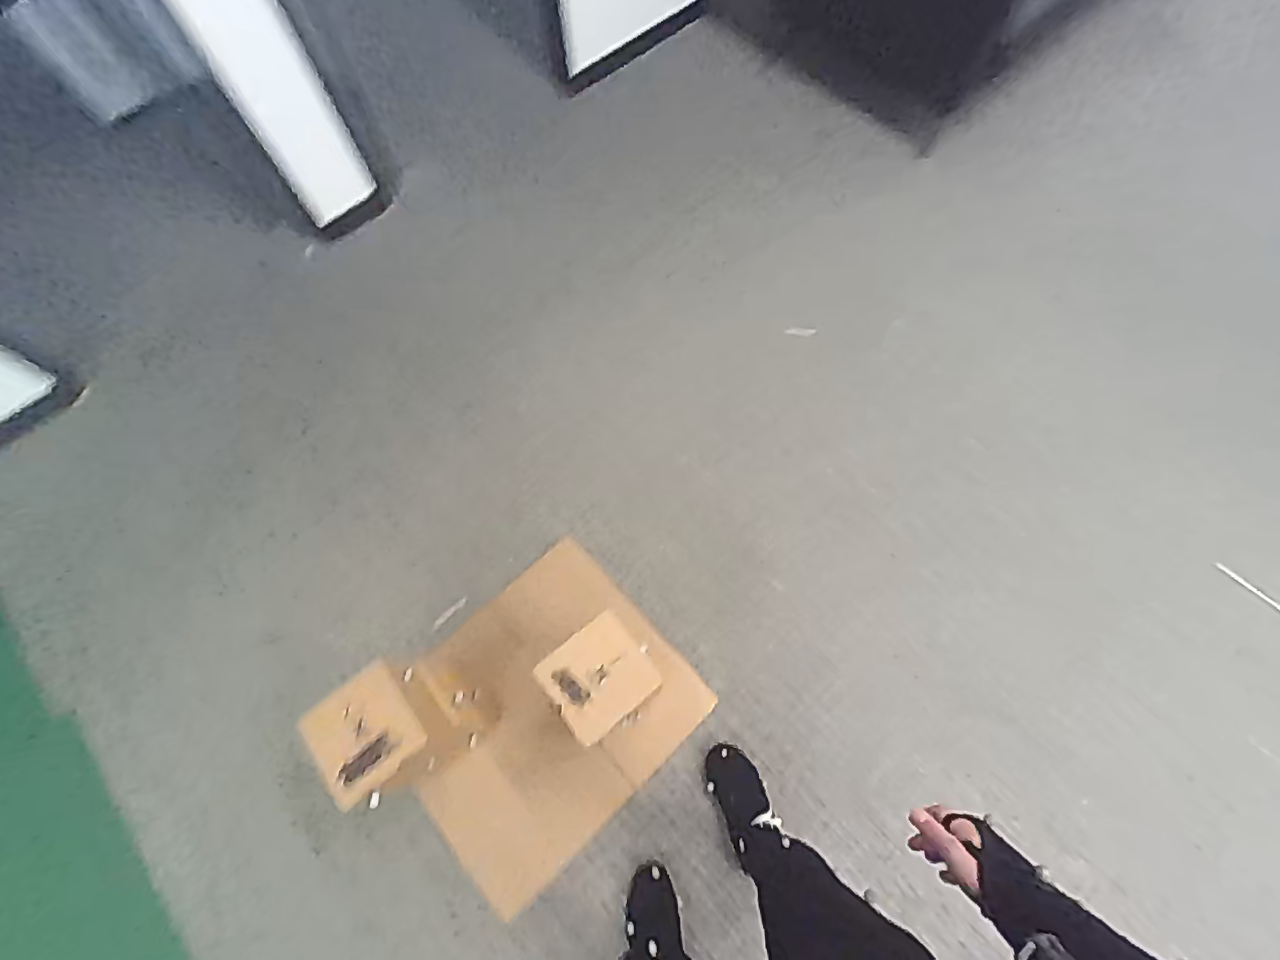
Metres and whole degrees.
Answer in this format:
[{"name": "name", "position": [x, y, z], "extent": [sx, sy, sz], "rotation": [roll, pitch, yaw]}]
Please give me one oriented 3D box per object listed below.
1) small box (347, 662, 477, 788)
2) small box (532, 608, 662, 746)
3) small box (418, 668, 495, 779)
[{"name": "small box", "position": [-0.469, 0.511, 1.150], "extent": [0.179, 0.176, 0.168], "rotation": [-40, 72, -13]}, {"name": "small box", "position": [-0.073, 0.371, 1.022], "extent": [0.179, 0.176, 0.168], "rotation": [-37, 72, -13]}, {"name": "small box", "position": [-0.470, 0.576, 1.298], "extent": [0.179, 0.176, 0.168], "rotation": [-40, 72, -14]}]
